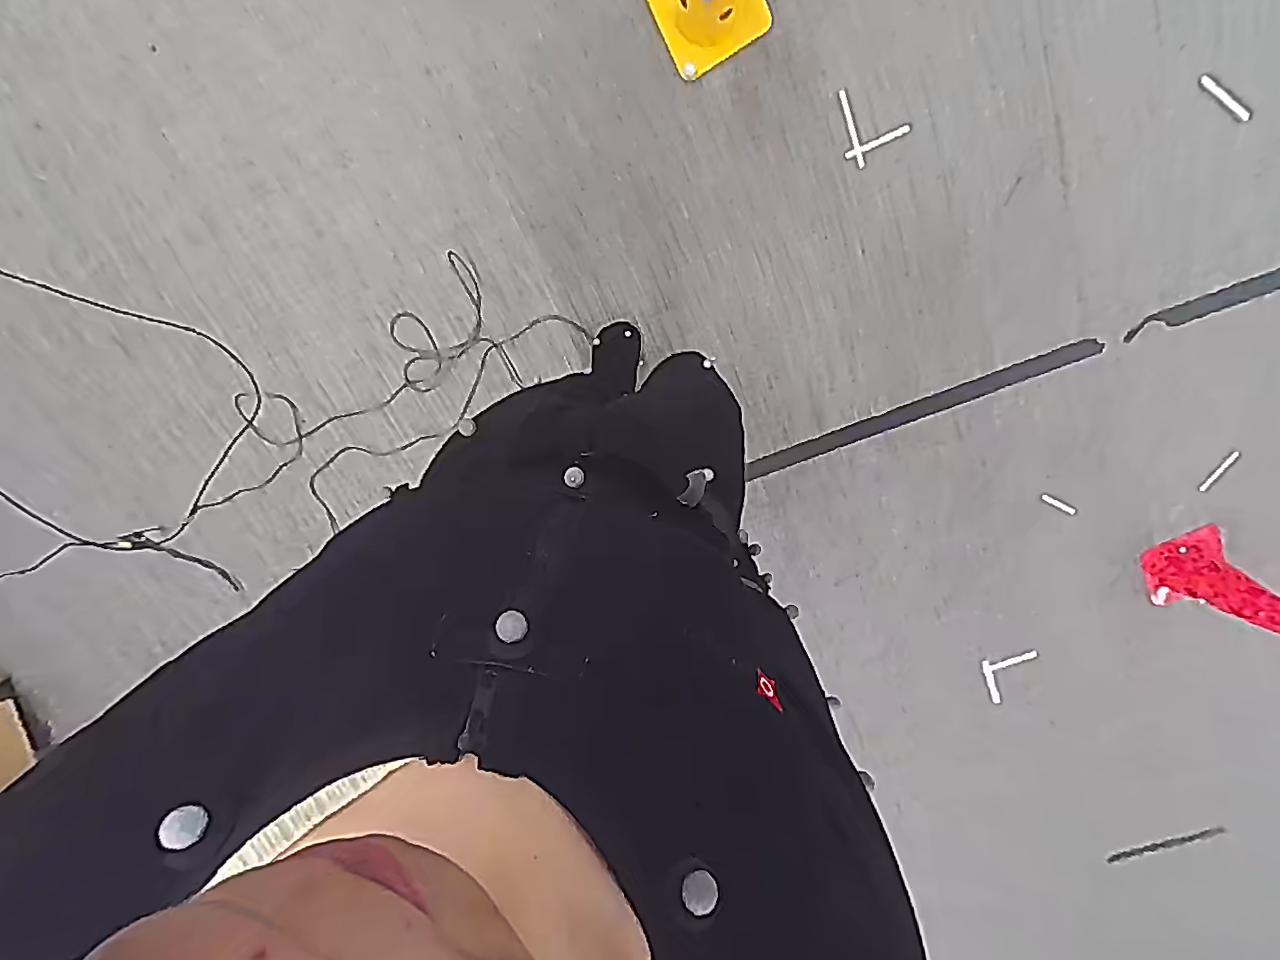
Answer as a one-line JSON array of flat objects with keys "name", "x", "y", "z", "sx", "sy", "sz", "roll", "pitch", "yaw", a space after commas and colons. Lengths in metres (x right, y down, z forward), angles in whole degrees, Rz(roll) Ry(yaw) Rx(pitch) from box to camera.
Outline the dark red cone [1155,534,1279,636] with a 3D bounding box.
[{"name": "dark red cone", "x": 1.482, "y": 0.306, "z": 1.278, "sx": 0.202, "sy": 0.394, "sz": 0.201, "roll": -28, "pitch": 107, "yaw": 10}]
